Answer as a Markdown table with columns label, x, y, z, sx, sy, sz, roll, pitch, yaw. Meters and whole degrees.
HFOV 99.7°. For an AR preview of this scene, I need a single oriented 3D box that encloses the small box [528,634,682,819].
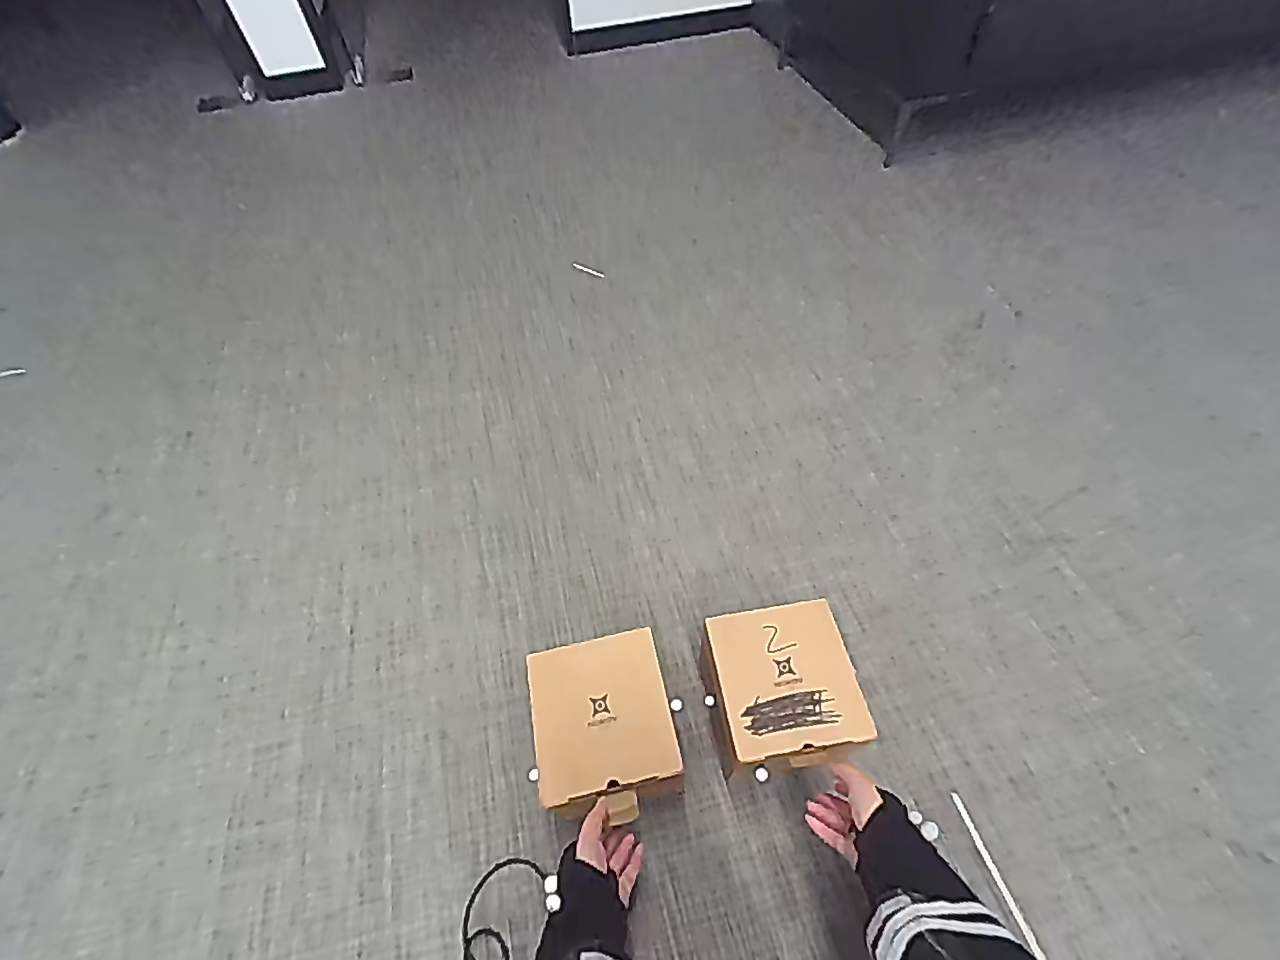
| label | x | y | z | sx | sy | sz | roll | pitch | yaw |
| --- | --- | --- | --- | --- | --- | --- | --- | --- | --- |
| small box | -0.046 | 0.330 | 0.717 | 0.168 | 0.176 | 0.179 | -12 | 56 | -5 |
